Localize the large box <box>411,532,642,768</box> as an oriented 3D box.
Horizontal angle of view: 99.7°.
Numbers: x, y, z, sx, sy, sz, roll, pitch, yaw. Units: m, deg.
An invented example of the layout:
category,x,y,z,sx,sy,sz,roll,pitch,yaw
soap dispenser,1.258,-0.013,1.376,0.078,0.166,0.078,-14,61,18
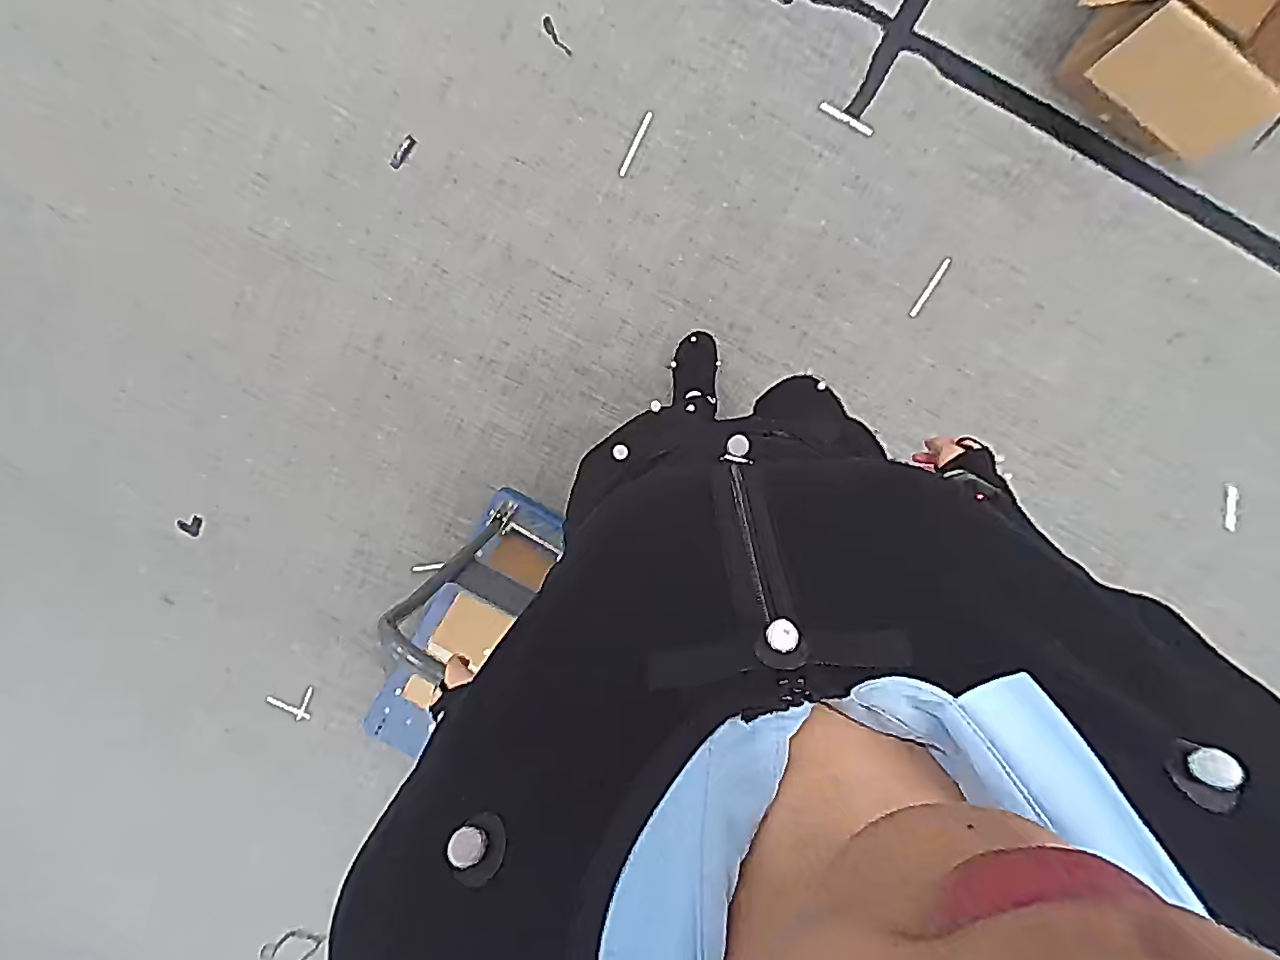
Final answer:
category,x,y,z,sx,sy,sz,roll,pitch,yaw
large box,-0.249,0.391,1.309,0.408,0.320,0.320,32,105,-4
